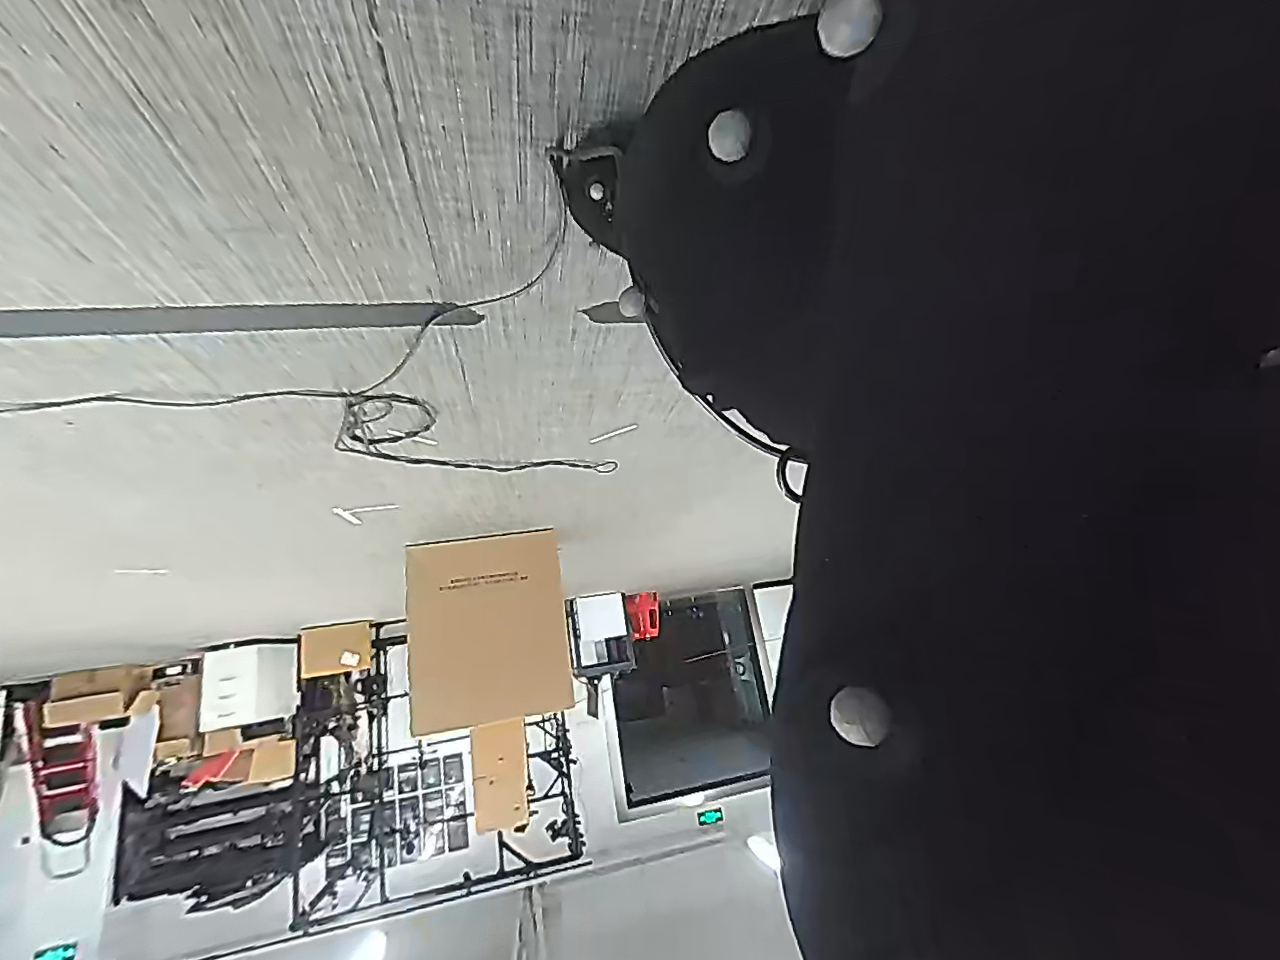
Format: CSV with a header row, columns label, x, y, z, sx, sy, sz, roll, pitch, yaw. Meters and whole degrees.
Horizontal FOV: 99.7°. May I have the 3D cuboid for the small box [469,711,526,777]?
label,x,y,z,sx,sy,sz,roll,pitch,yaw
small box,-0.499,0.915,1.893,0.179,0.176,0.168,-7,164,-12
